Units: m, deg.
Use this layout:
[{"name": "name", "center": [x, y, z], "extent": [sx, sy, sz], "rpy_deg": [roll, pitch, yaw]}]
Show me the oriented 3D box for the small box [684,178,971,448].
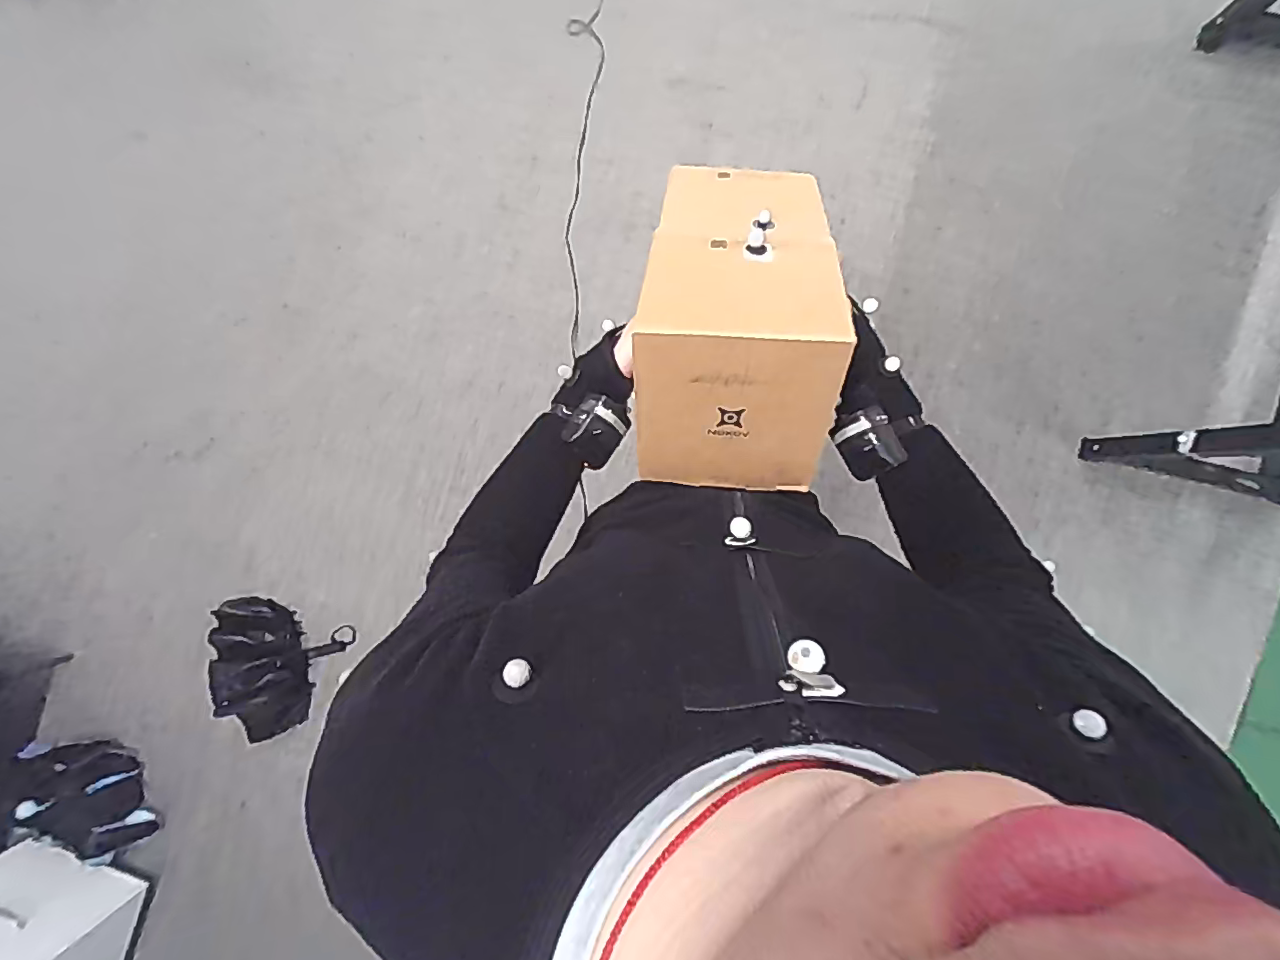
[{"name": "small box", "center": [0.173, -0.163, 0.533], "extent": [0.179, 0.168, 0.176], "rpy_deg": [16, 122, -23]}]
